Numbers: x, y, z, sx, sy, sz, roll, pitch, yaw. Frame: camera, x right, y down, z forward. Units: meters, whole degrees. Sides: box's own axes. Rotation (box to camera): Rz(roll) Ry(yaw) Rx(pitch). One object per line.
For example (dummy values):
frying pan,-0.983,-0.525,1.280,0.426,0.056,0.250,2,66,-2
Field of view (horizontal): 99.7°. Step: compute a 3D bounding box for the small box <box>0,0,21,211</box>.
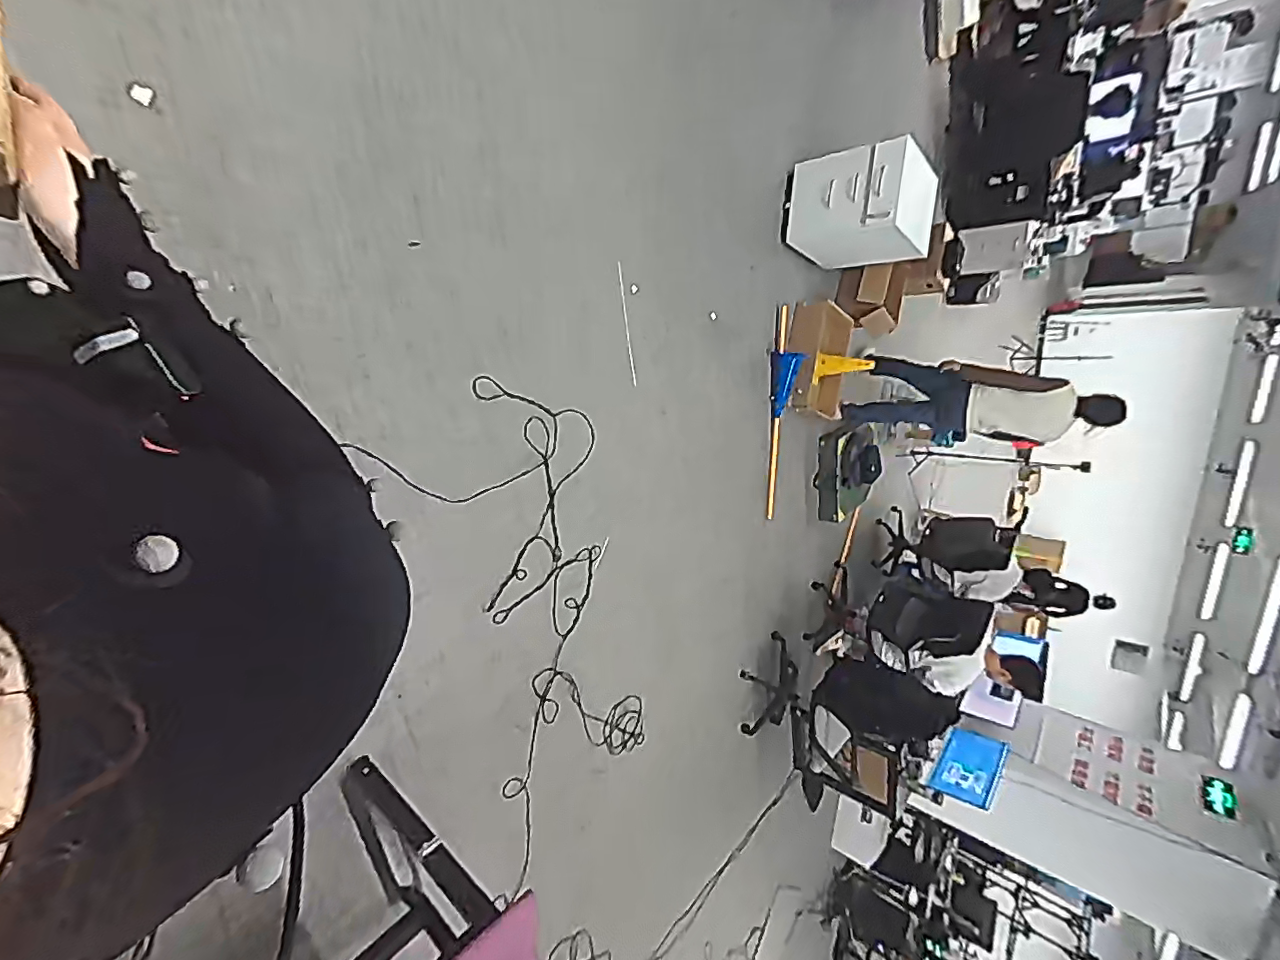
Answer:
small box,-0.448,-0.270,0.278,0.168,0.176,0.179,-3,98,-48
